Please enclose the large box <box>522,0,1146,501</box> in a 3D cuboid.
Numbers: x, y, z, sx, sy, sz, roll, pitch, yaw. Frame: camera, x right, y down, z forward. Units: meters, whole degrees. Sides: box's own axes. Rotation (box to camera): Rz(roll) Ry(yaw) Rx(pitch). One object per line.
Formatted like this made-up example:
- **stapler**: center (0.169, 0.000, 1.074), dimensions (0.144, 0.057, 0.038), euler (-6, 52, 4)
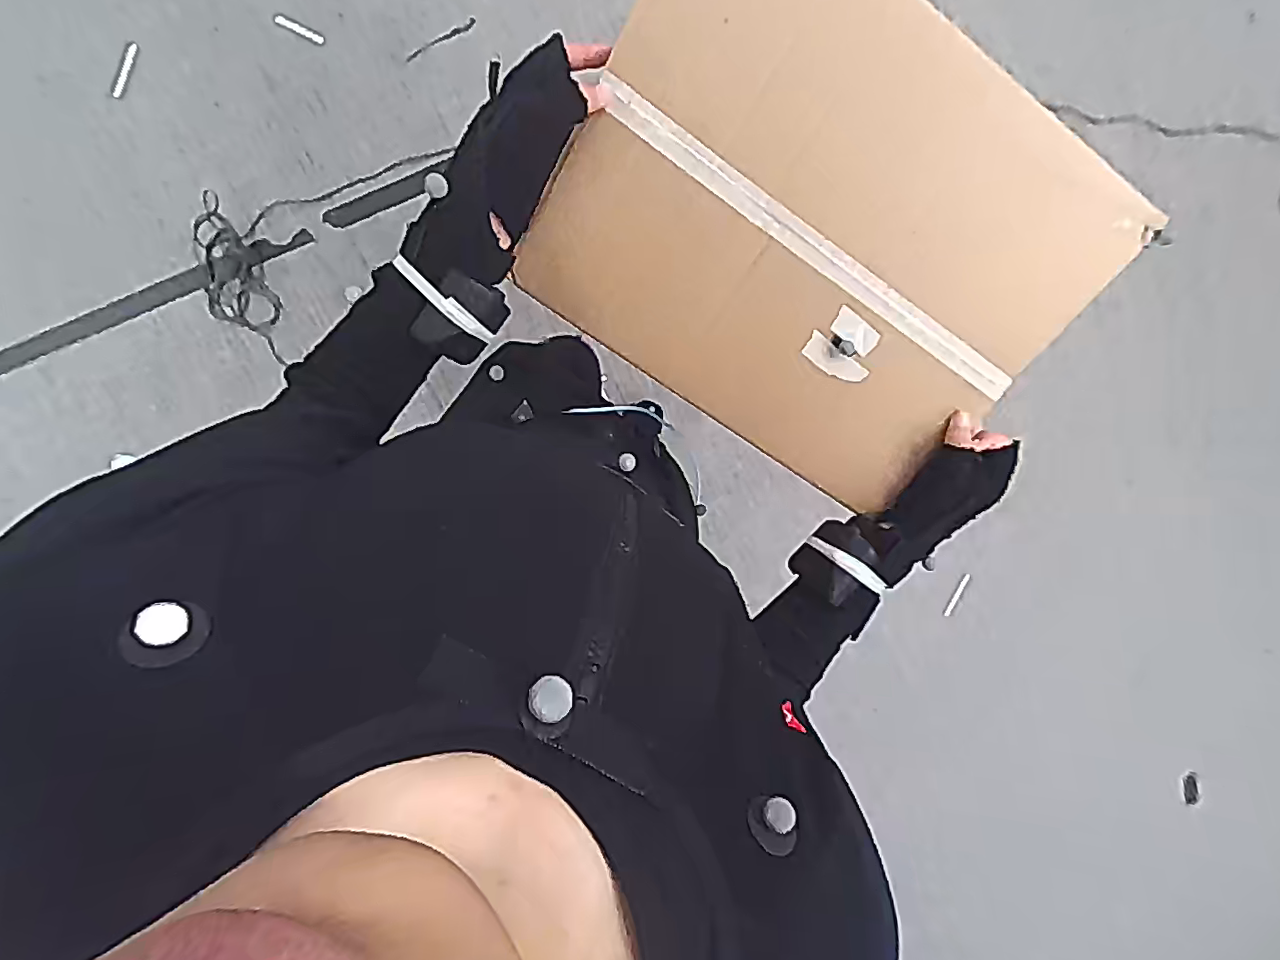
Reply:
- **large box**: center (0.151, -0.252, 0.572), dimensions (0.408, 0.320, 0.320), euler (32, 113, -11)
